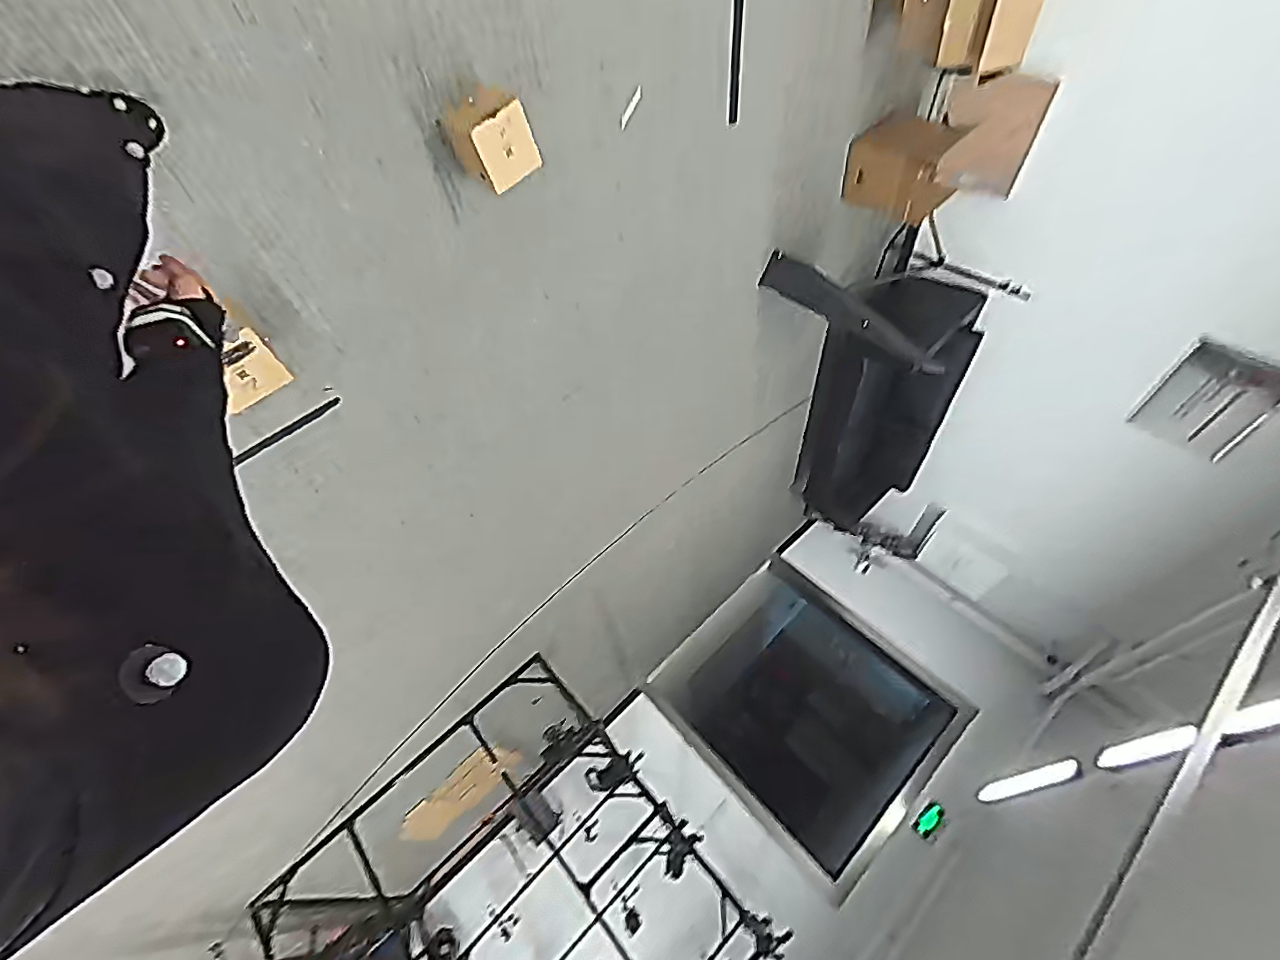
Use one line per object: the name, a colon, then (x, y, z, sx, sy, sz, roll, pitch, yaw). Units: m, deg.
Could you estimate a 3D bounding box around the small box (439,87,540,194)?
small box: (-0.410, -0.929, 1.477, 0.168, 0.176, 0.179, -43, 150, -12)
